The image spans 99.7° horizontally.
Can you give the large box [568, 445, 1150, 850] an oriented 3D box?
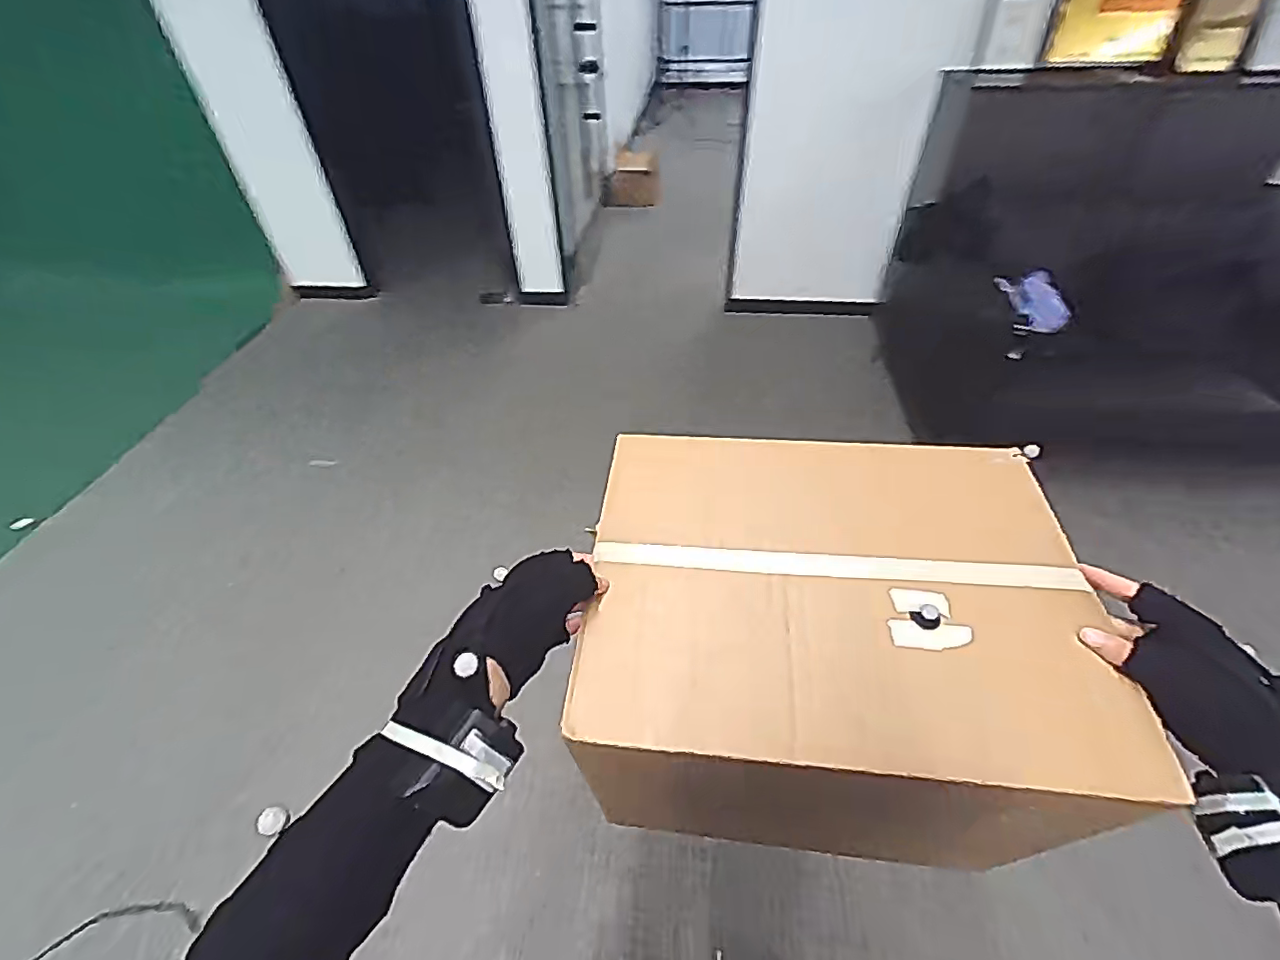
[{"bbox_3d":[0.162,0.178,0.583,0.408,0.320,0.320,2,49,6],"label":"large box"}]
